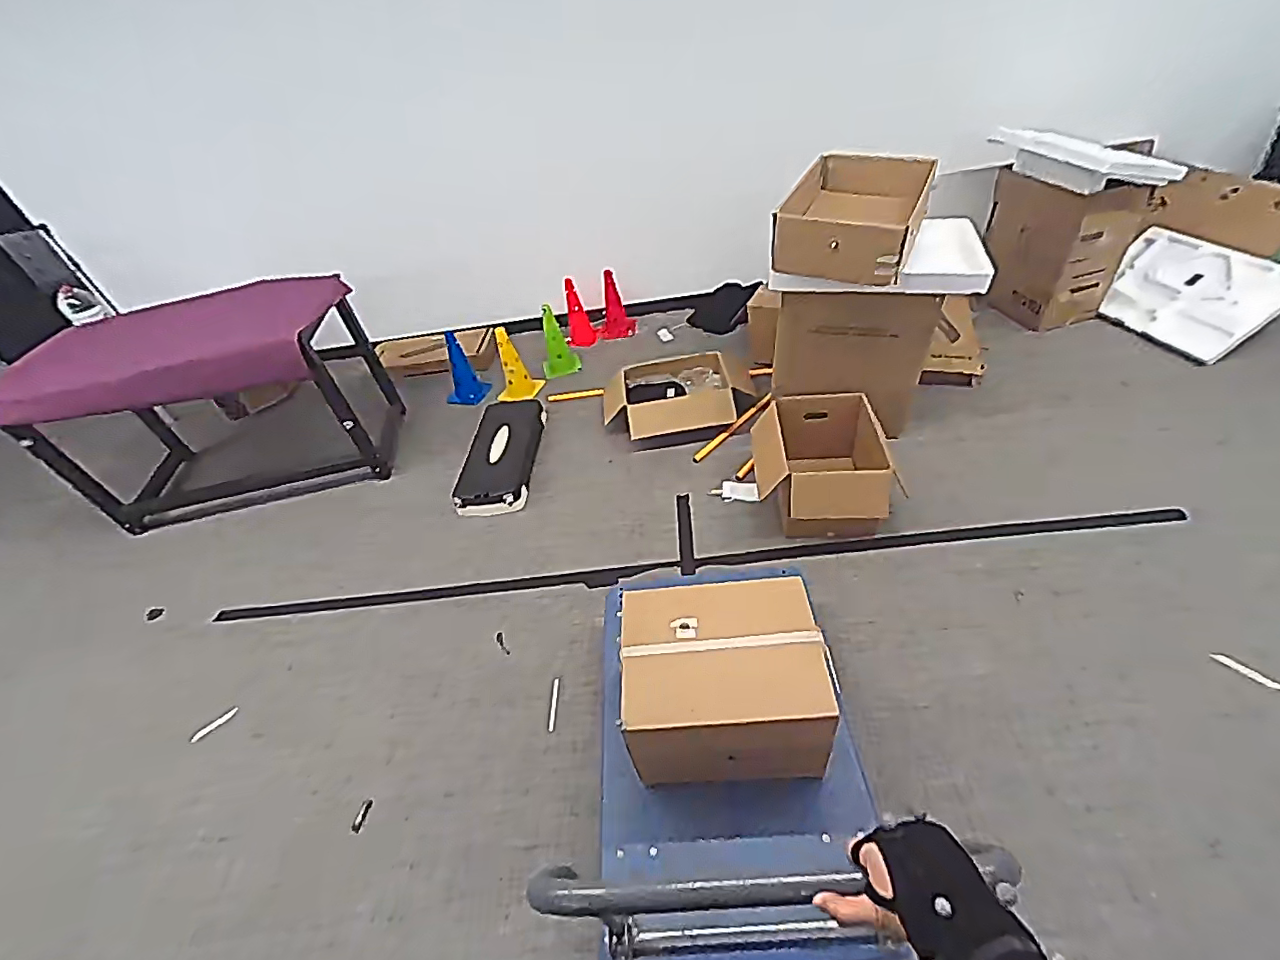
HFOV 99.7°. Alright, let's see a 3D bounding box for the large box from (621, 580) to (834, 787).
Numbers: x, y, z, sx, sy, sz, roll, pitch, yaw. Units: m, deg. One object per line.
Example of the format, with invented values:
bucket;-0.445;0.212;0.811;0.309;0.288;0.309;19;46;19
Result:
large box;0.183;0.463;1.220;0.408;0.320;0.320;-8;42;5
